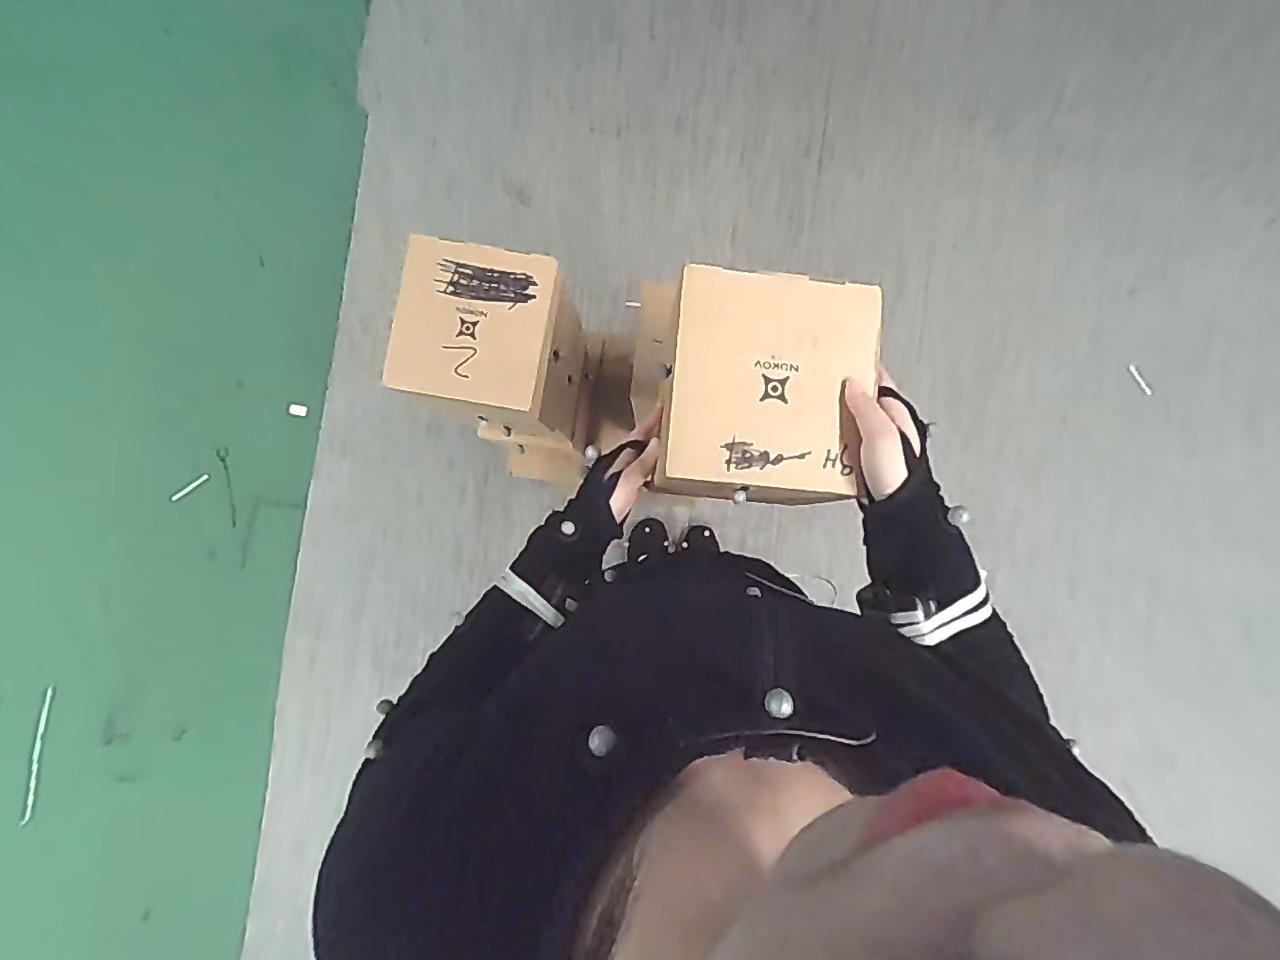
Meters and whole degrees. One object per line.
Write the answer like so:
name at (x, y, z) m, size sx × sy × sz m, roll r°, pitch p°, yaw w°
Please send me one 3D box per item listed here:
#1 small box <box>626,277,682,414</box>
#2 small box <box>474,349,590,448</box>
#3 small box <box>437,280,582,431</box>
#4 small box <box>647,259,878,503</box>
small box at (0.079, -0.189, 0.828) m, size 0.179 × 0.176 × 0.168 m, roll 7°, pitch 87°, yaw 3°
small box at (-0.188, -0.158, 0.992) m, size 0.168 × 0.176 × 0.179 m, roll 8°, pitch 88°, yaw 0°
small box at (-0.187, -0.178, 0.829) m, size 0.168 × 0.176 × 0.179 m, roll 10°, pitch 88°, yaw 0°
small box at (0.100, -0.076, 0.509) m, size 0.168 × 0.176 × 0.179 m, roll 7°, pitch 85°, yaw -3°
